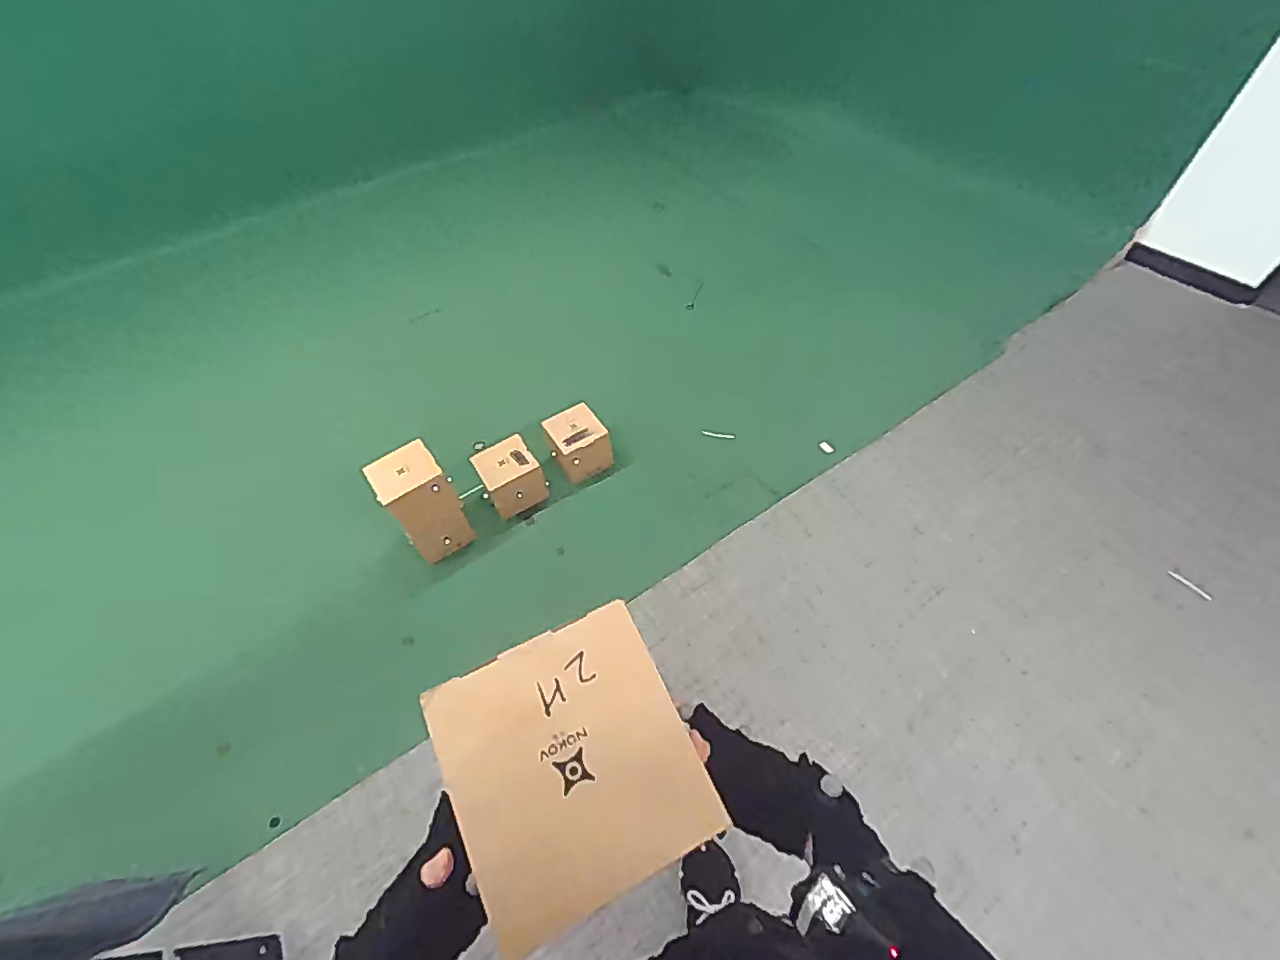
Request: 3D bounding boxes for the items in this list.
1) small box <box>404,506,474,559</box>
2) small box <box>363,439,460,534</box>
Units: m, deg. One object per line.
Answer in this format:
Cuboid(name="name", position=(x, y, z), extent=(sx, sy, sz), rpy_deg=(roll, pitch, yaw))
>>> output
Cuboid(name="small box", position=(-0.639, 0.121, 1.672), extent=(0.168, 0.176, 0.179), rpy_deg=(-31, 59, -18))
Cuboid(name="small box", position=(-0.646, 0.023, 1.542), extent=(0.179, 0.176, 0.168), rpy_deg=(-33, 58, -19))
